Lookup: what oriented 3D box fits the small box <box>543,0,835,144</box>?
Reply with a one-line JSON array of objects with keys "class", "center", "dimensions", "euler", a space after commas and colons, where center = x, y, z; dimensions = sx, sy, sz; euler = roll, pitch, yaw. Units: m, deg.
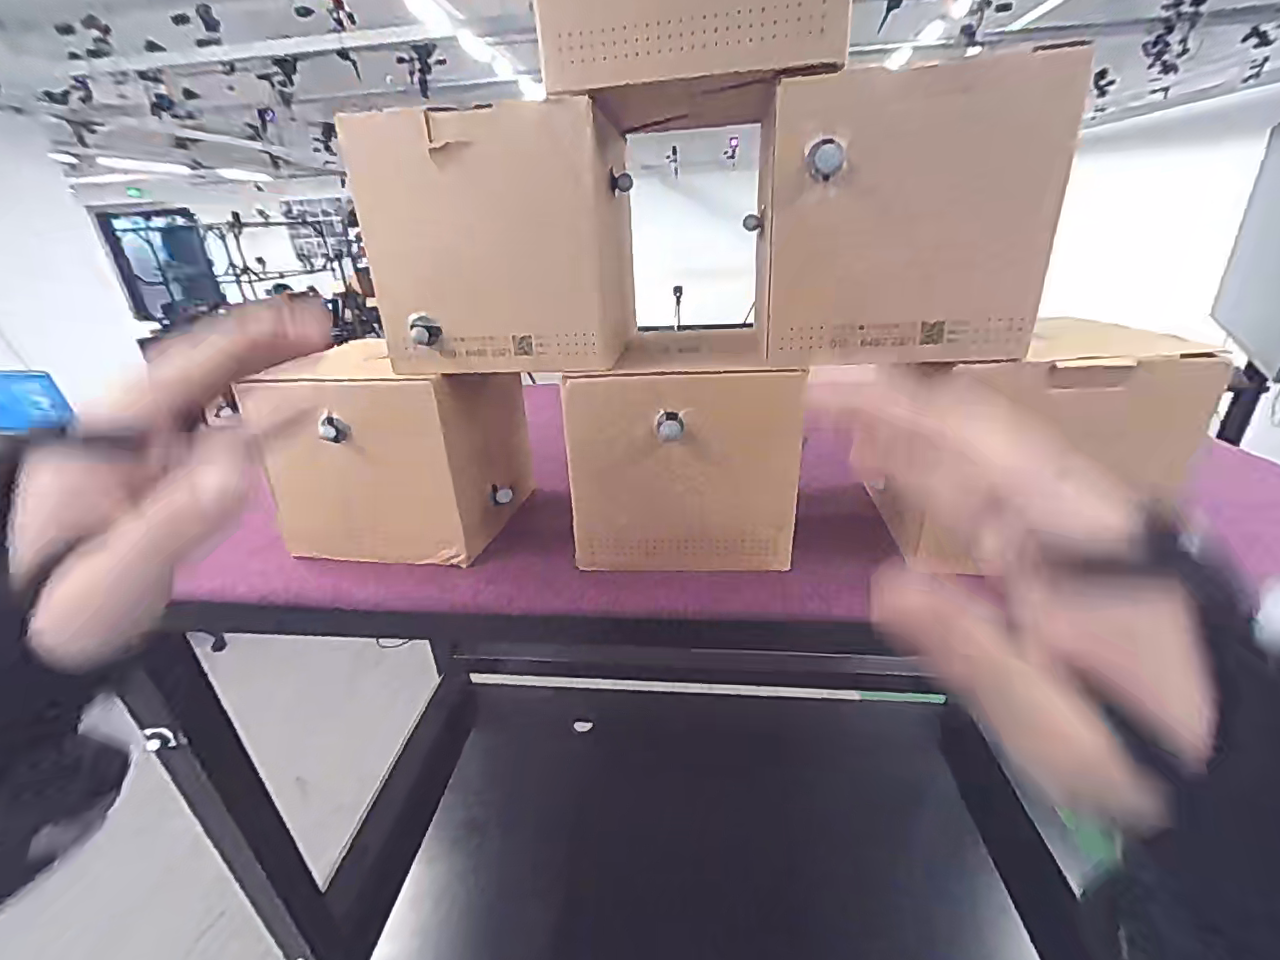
[{"class": "small box", "center": [0.034, -0.339, 0.367], "dimensions": [0.179, 0.176, 0.168], "euler": [1, 24, 9]}]

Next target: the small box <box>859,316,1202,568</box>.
[{"class": "small box", "center": [0.298, -0.039, 0.465], "dimensions": [0.168, 0.176, 0.179], "euler": [1, 25, 8]}]

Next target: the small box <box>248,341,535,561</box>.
[{"class": "small box", "center": [-0.217, -0.036, 0.522], "dimensions": [0.179, 0.176, 0.168], "euler": [3, 25, 10]}]

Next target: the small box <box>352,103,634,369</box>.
[{"class": "small box", "center": [-0.097, -0.190, 0.453], "dimensions": [0.168, 0.176, 0.179], "euler": [0, 23, 7]}]
